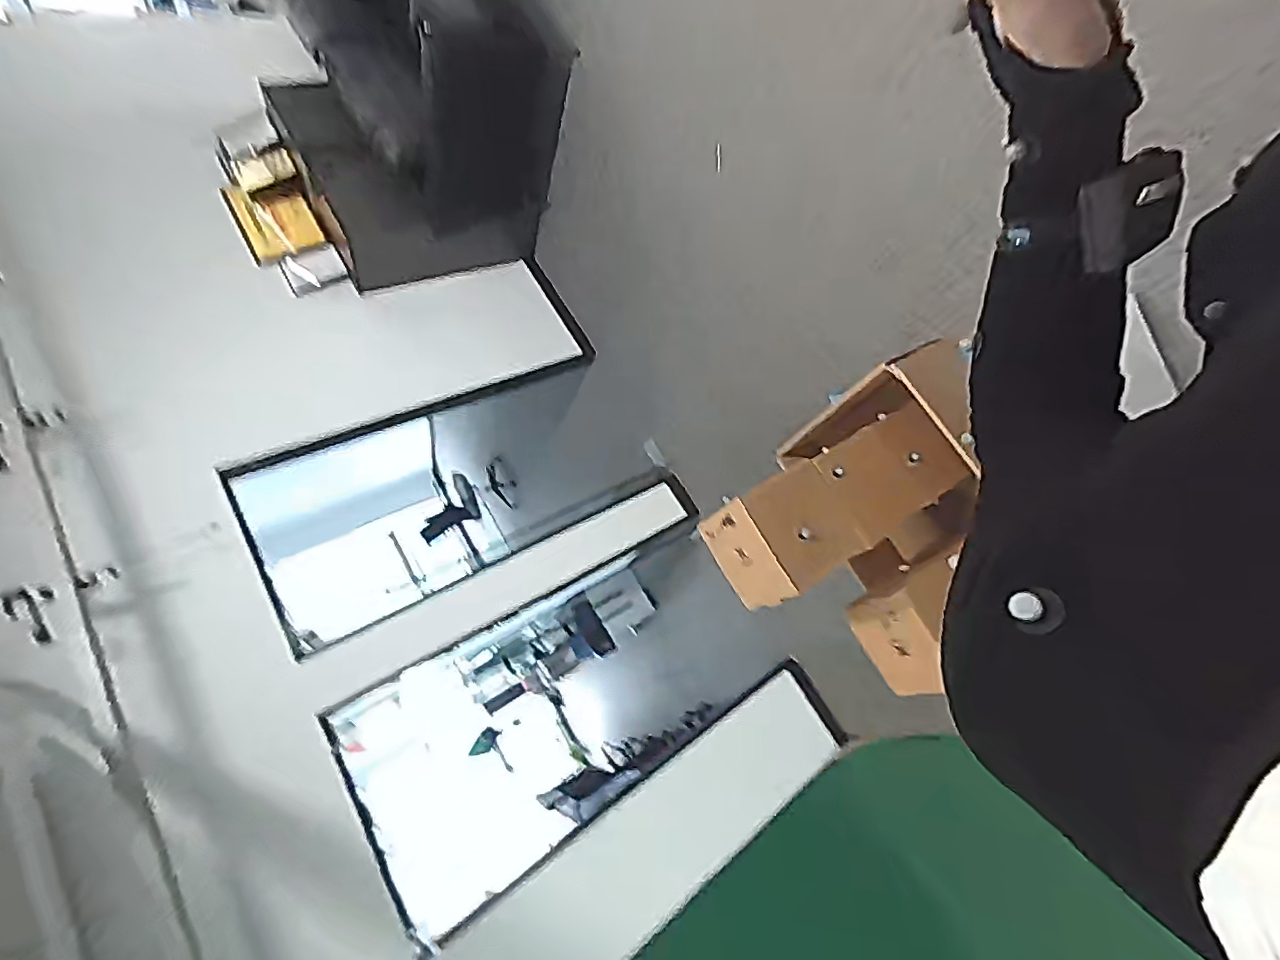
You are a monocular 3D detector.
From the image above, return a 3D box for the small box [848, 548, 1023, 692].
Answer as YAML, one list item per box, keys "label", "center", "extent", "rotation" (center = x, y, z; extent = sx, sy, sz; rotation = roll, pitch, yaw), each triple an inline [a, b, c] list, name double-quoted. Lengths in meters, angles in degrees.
- label: "small box"
  center: [0.516, 0.247, 0.949]
  extent: [0.179, 0.176, 0.168]
  rotation: [59, 153, 13]

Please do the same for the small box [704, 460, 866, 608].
- label: "small box"
  center: [0.250, 0.094, 0.939]
  extent: [0.179, 0.176, 0.168]
  rotation: [58, 153, 10]
